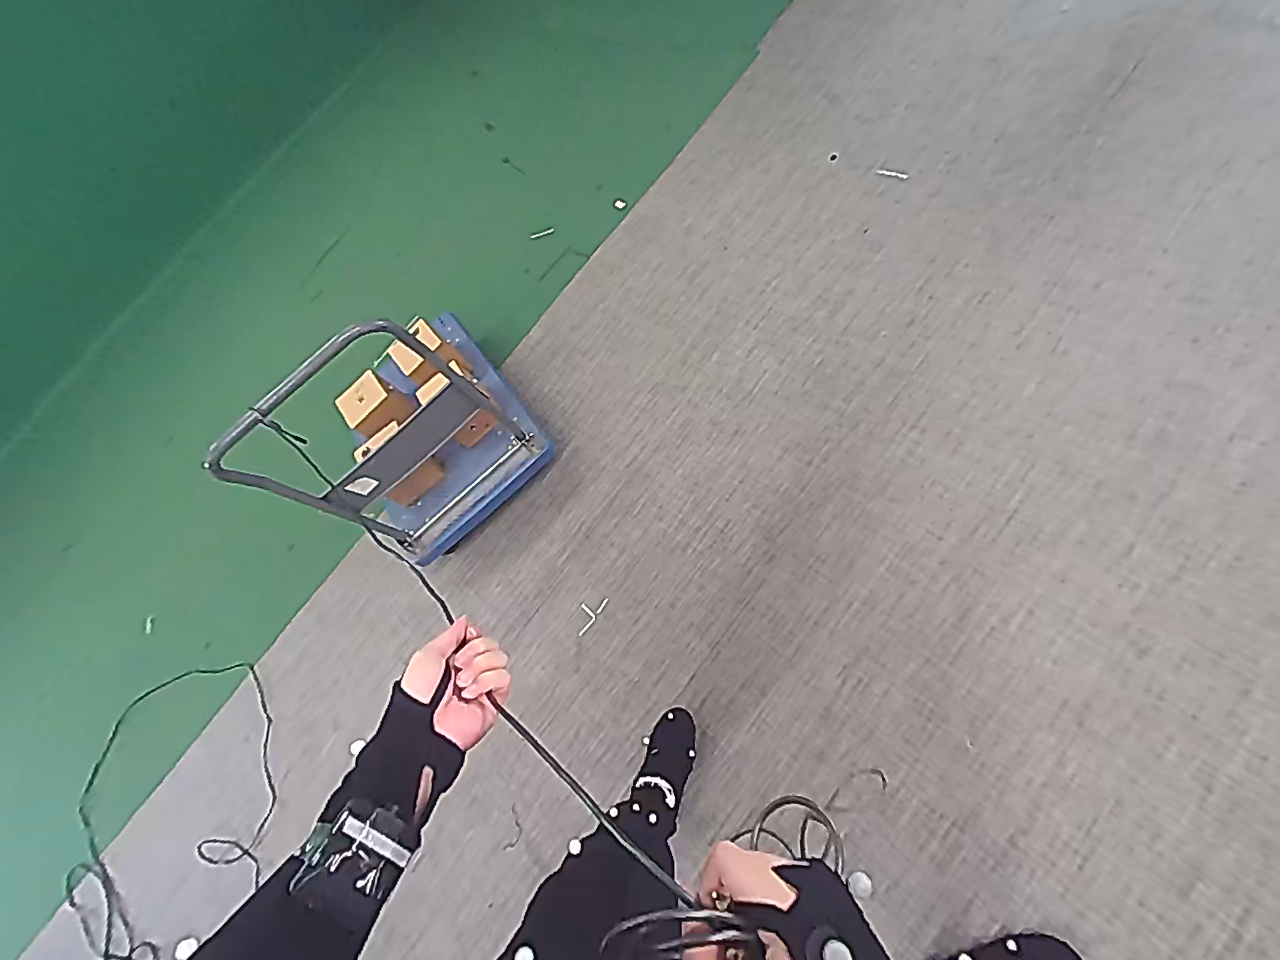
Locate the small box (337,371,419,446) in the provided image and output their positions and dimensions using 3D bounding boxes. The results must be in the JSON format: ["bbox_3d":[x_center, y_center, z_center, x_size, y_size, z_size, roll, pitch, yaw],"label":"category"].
[{"bbox_3d":[-0.913,-0.243,1.895,0.168,0.176,0.179,-44,59,-1],"label":"small box"}]

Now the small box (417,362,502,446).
[{"bbox_3d":[-0.583,-0.242,1.759,0.168,0.176,0.179,-40,59,2],"label":"small box"}]

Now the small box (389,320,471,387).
[{"bbox_3d":[-0.734,-0.419,1.898,0.168,0.176,0.179,-45,60,0],"label":"small box"}]
